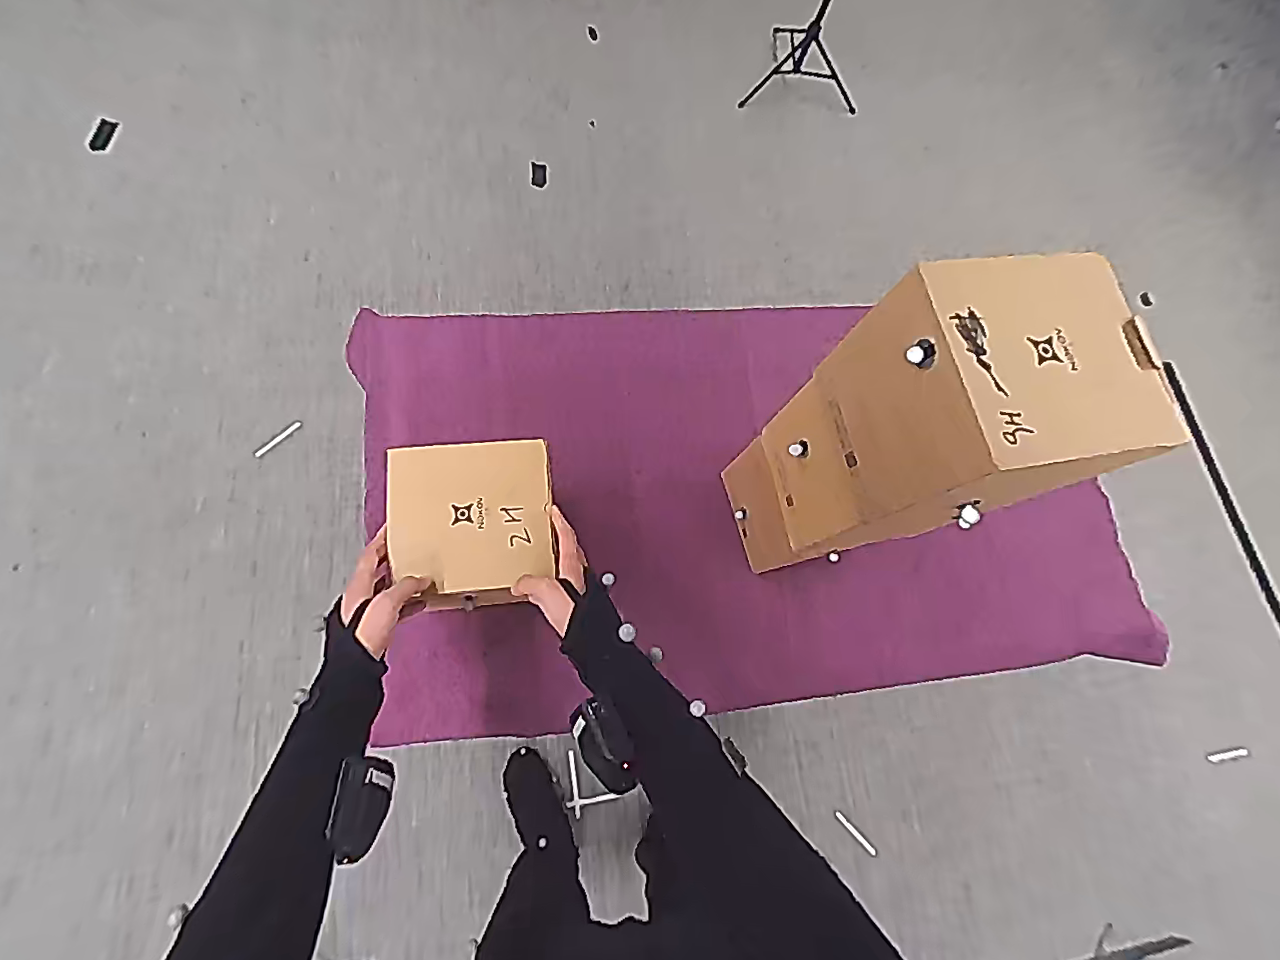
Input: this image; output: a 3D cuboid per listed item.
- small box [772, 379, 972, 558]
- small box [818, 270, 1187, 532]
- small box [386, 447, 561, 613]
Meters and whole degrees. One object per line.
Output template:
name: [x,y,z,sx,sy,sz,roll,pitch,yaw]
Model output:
small box: [0.269,-0.012,0.627,0.179,0.176,0.168,-7,73,-12]
small box: [0.288,-0.059,0.471,0.179,0.176,0.168,-6,73,-13]
small box: [-0.190,0.068,0.662,0.179,0.176,0.168,-4,73,-9]
